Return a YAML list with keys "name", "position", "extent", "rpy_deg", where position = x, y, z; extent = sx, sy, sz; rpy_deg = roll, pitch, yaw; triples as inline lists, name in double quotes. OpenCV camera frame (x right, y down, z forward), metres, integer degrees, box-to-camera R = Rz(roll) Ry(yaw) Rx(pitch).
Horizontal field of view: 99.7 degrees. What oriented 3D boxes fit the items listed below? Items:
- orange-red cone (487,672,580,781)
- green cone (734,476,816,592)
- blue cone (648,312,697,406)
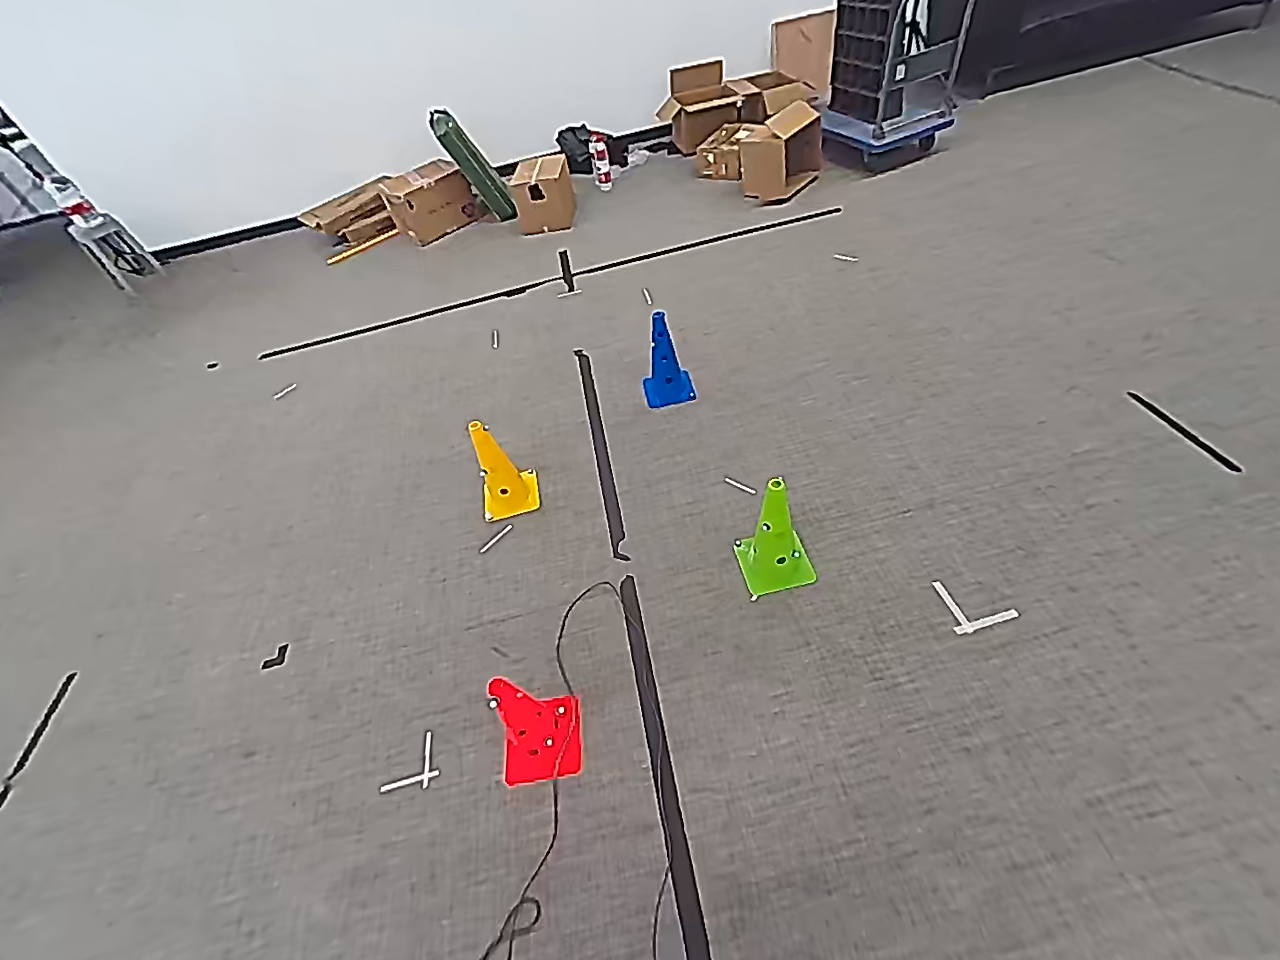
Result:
- name: "orange-red cone"
  position: [-0.281, 0.545, 1.273]
  extent: [0.199, 0.360, 0.198]
  rpy_deg: [-11, 46, 3]
- name: "green cone"
  position: [0.378, 0.127, 1.504]
  extent: [0.202, 0.368, 0.200]
  rpy_deg: [-13, 47, -1]
- name: "blue cone"
  position: [0.109, -0.487, 2.133]
  extent: [0.192, 0.380, 0.193]
  rpy_deg: [-10, 48, 2]
